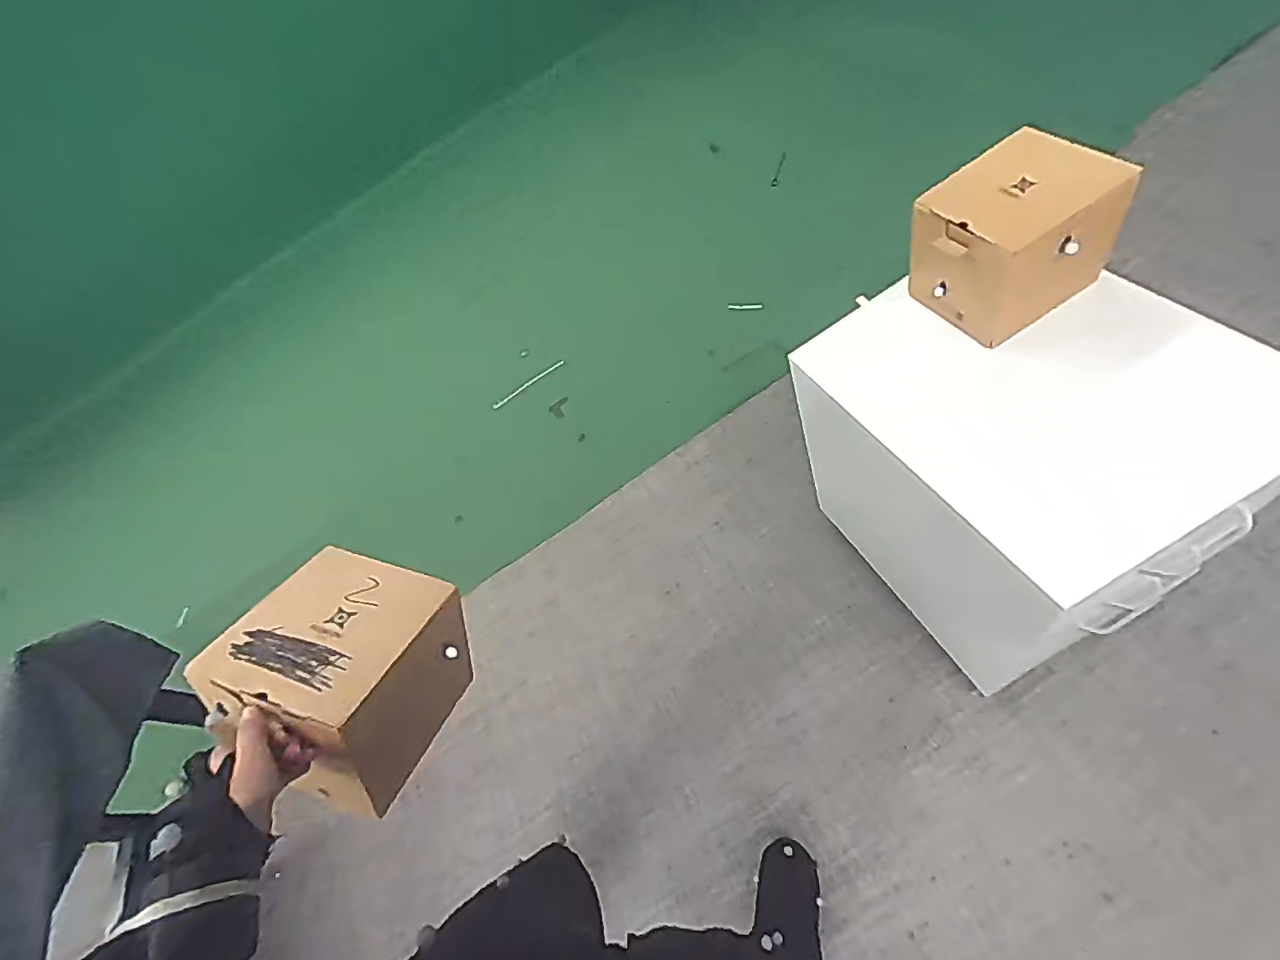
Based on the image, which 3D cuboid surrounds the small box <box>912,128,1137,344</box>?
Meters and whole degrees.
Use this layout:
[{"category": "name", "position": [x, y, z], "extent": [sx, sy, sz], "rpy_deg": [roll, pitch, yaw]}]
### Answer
[{"category": "small box", "position": [0.498, -0.325, 0.738], "extent": [0.179, 0.176, 0.168], "rpy_deg": [-34, 54, 3]}]
